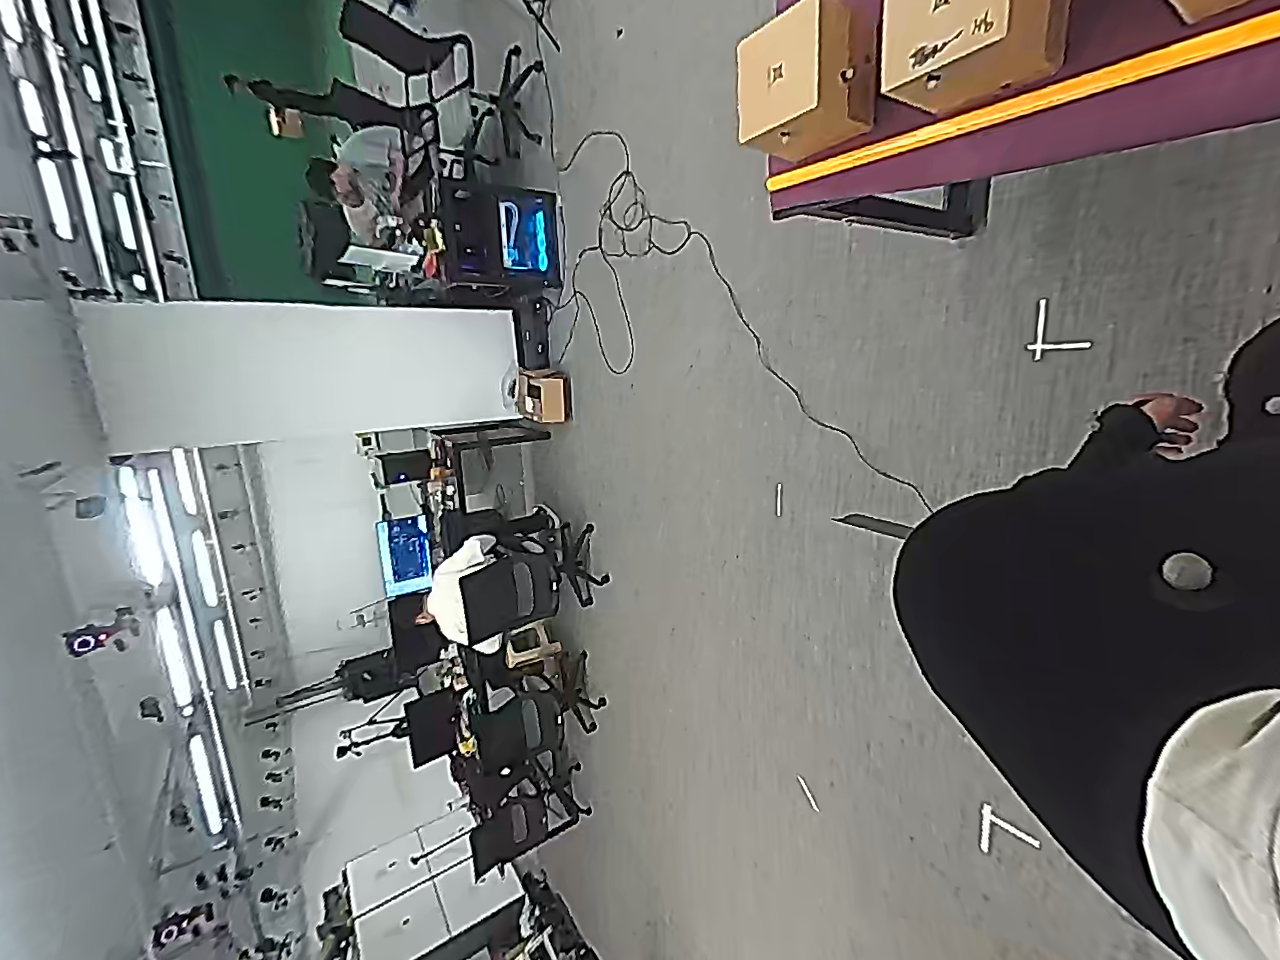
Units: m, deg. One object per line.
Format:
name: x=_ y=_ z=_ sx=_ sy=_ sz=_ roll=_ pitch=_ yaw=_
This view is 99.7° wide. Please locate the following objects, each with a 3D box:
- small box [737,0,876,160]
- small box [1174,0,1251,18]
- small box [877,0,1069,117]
small box: x=0.294 y=-0.693 z=0.955 sx=0.179 sy=0.176 sz=0.168 roll=14 pitch=110 yaw=54
small box: x=0.609 y=-0.580 z=0.496 sx=0.179 sy=0.176 sz=0.168 roll=16 pitch=111 yaw=56
small box: x=0.450 y=-0.631 z=0.730 sx=0.168 sy=0.176 sz=0.179 roll=18 pitch=113 yaw=56
